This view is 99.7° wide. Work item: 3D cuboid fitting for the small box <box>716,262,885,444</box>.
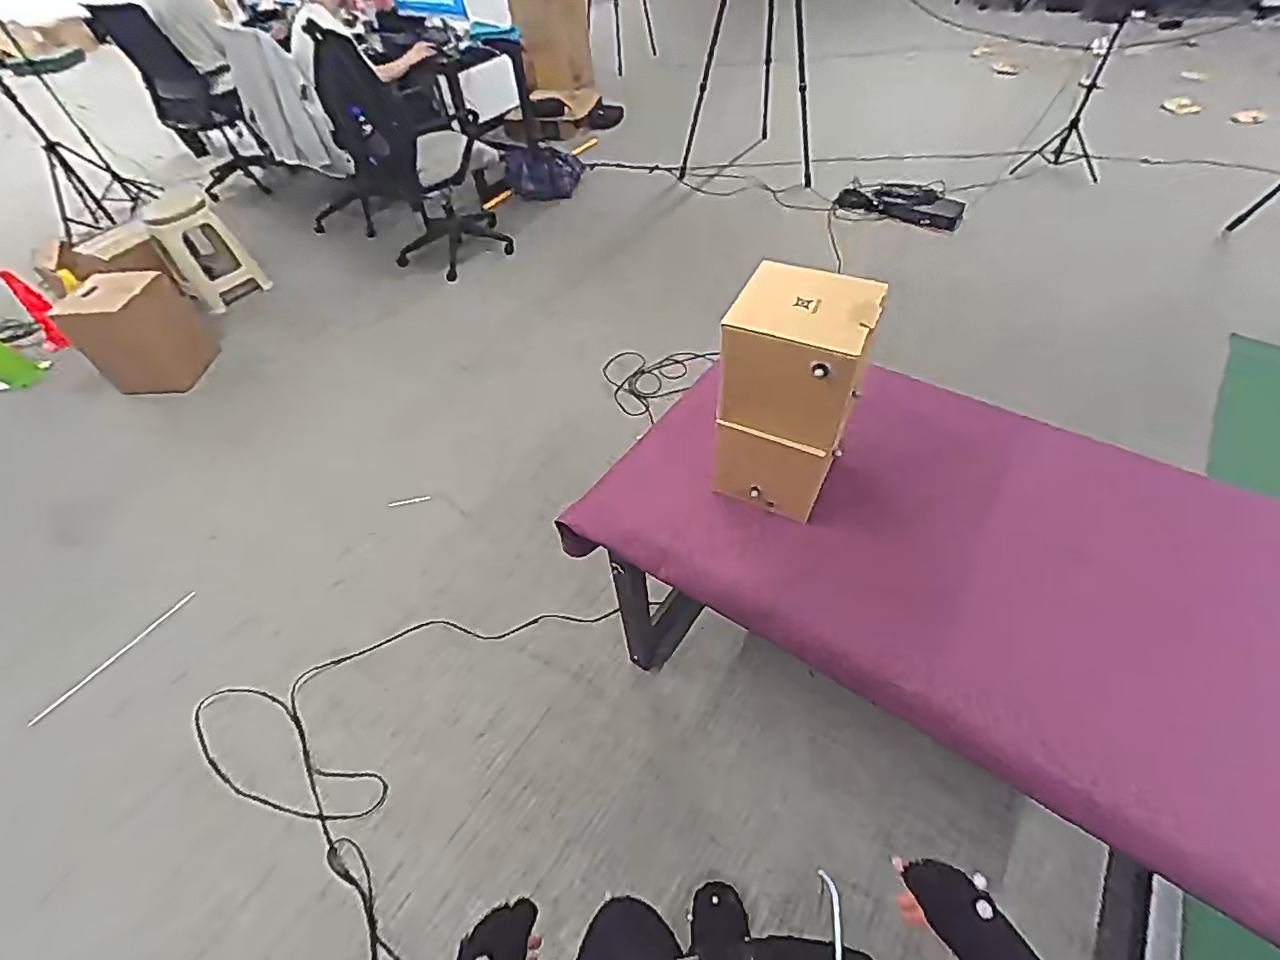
[{"bbox_3d":[0.214,-0.175,0.755,0.179,0.176,0.168,20,55,20],"label":"small box"}]
